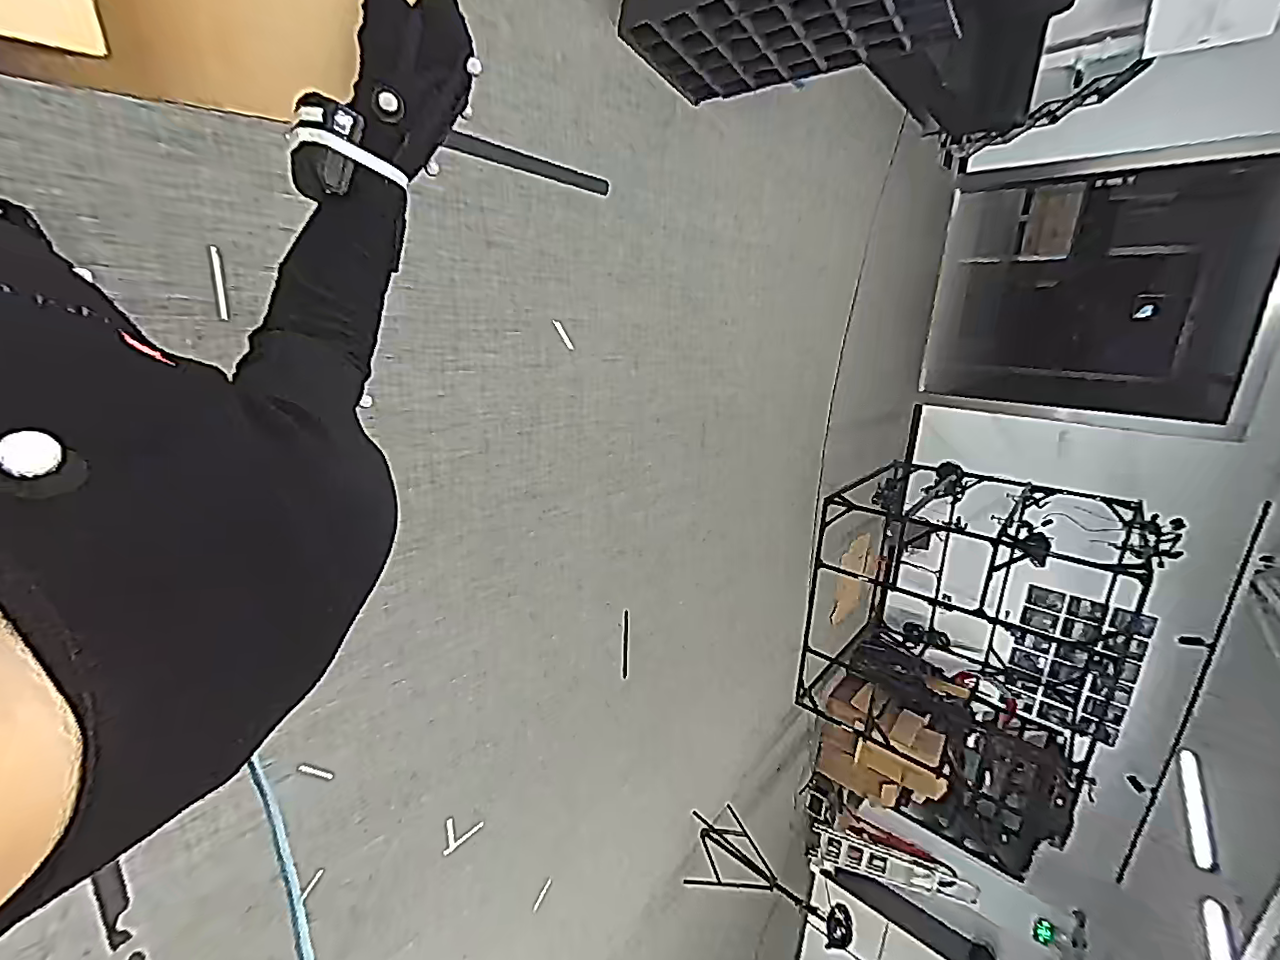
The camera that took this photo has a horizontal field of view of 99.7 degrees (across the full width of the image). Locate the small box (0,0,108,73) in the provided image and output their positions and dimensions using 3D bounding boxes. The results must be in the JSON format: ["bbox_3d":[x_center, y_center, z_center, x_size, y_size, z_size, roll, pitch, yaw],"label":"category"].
[{"bbox_3d":[-0.417,-0.310,0.245,0.179,0.176,0.168,-40,143,-55],"label":"small box"}]
